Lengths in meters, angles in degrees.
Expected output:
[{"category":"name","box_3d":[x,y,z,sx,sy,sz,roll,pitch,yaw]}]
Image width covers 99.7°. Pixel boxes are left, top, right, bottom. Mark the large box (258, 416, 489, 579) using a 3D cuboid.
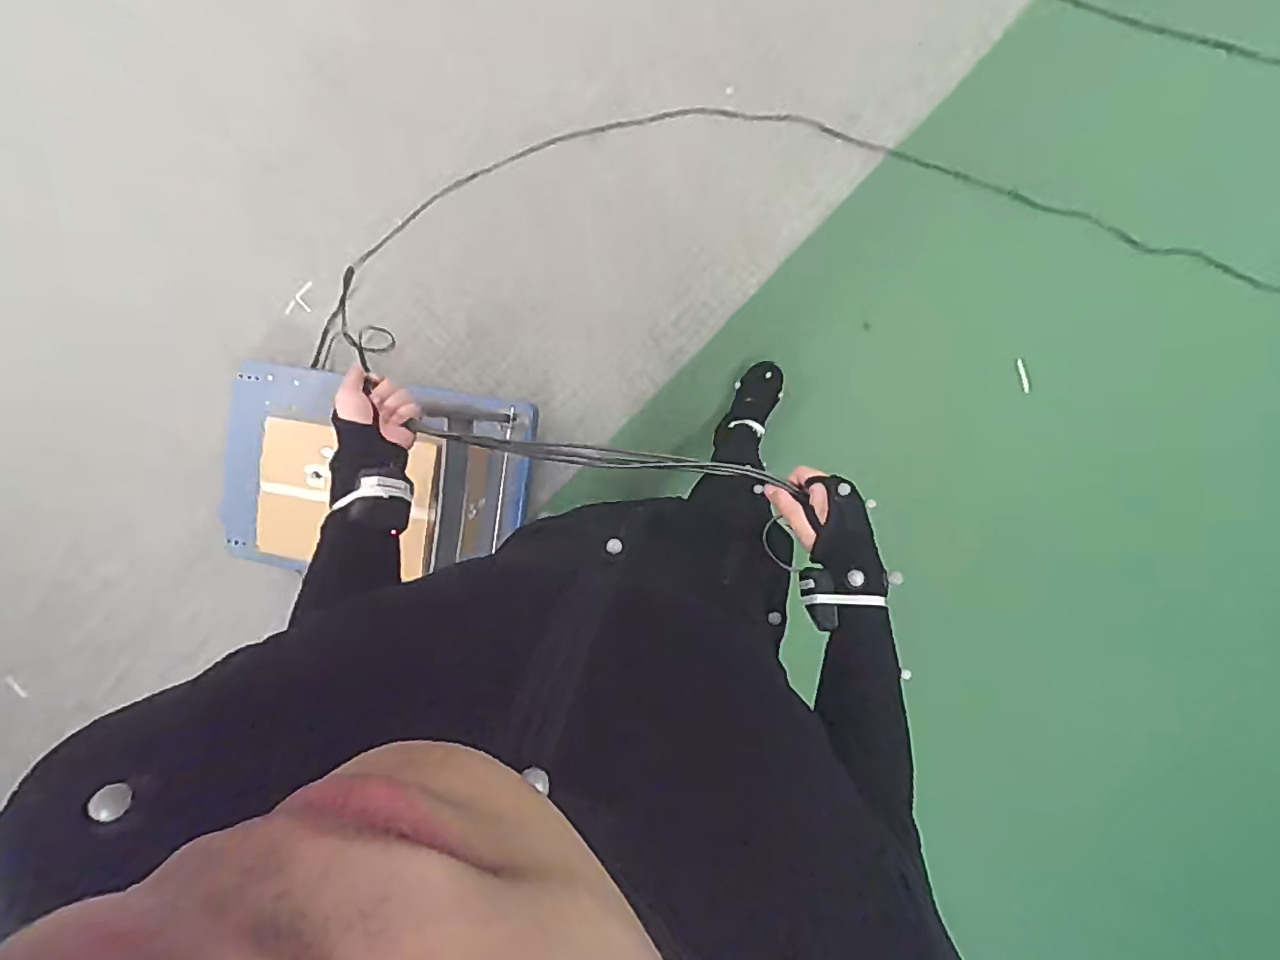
[{"category":"large box","box_3d":[-0.631,0.024,1.332,0.408,0.320,0.320,10,95,6]}]
